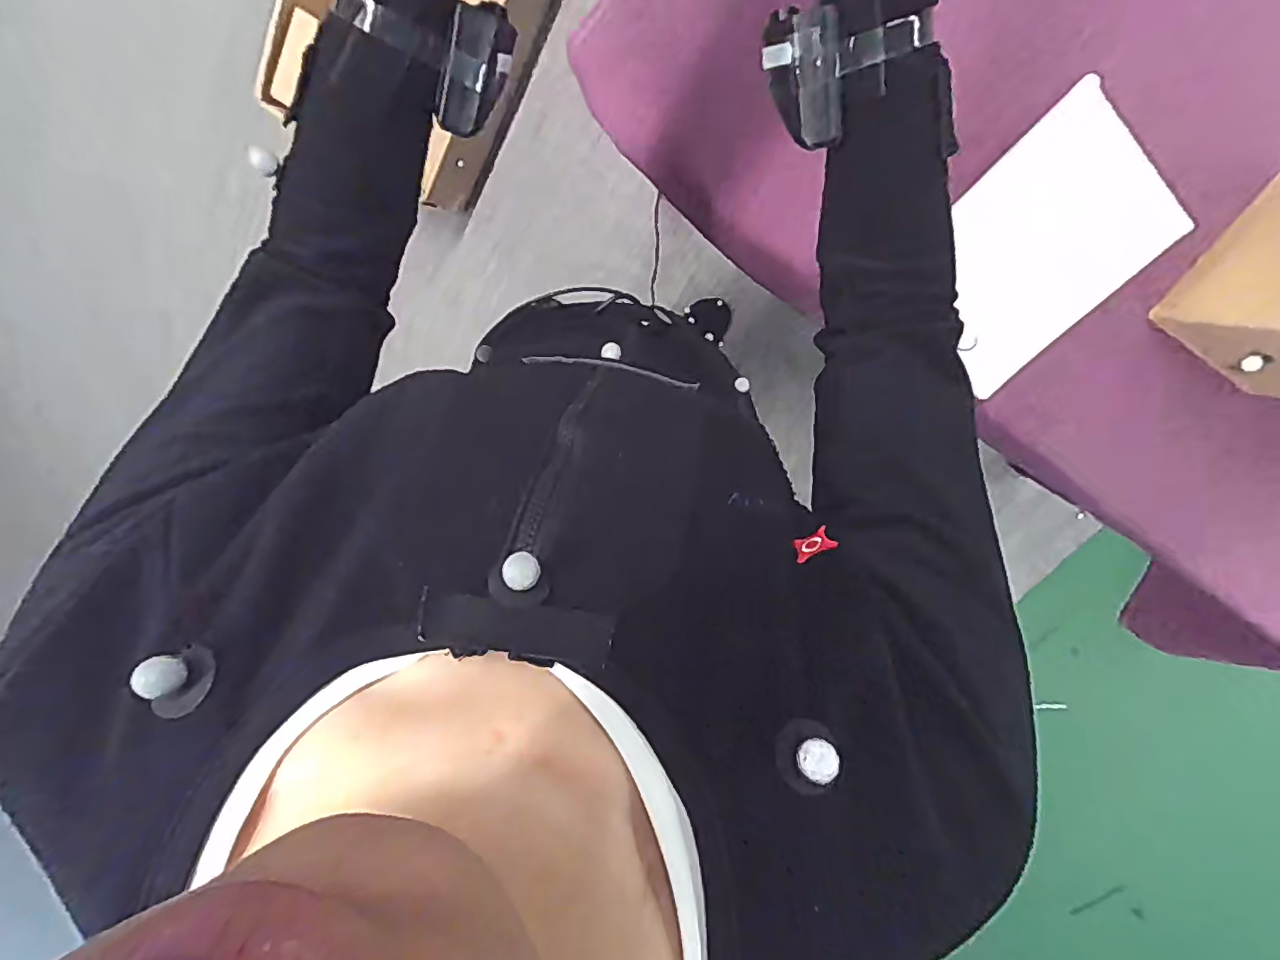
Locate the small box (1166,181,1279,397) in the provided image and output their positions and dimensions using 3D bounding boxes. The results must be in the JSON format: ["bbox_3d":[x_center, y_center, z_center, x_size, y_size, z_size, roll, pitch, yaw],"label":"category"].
[{"bbox_3d":[0.683,-0.183,0.524,0.168,0.176,0.179,32,109,-6],"label":"small box"}]
